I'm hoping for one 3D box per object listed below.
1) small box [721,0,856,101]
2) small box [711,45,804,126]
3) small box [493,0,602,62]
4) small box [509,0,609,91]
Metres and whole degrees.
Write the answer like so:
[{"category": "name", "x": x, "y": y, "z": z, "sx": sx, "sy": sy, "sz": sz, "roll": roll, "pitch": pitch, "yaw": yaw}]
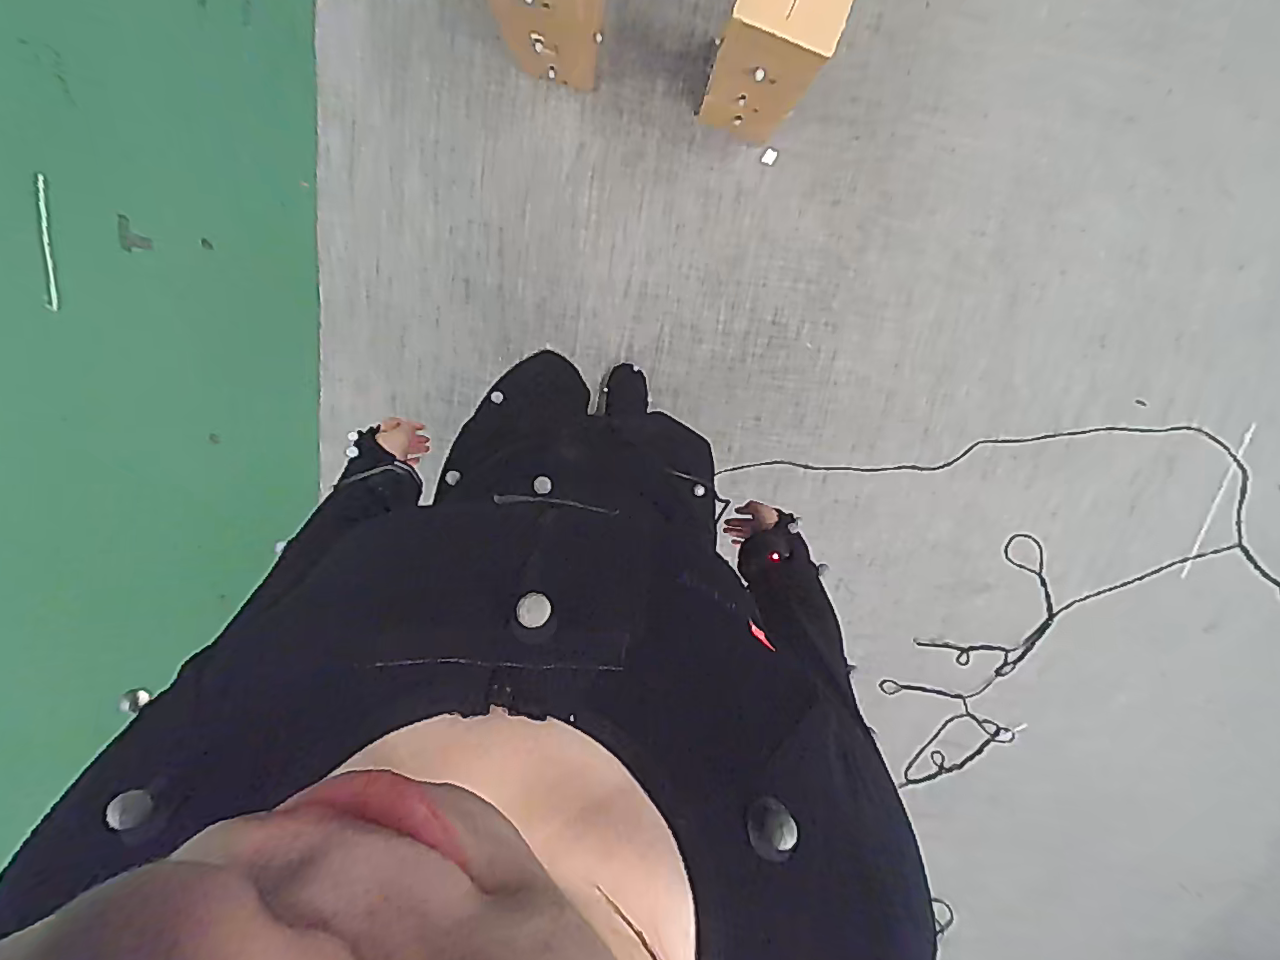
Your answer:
[{"category": "small box", "x": 0.241, "y": -0.757, "z": 0.867, "sx": 0.168, "sy": 0.176, "sz": 0.179, "roll": 18, "pitch": 108, "yaw": -6}, {"category": "small box", "x": 0.243, "y": -0.815, "z": 1.022, "sx": 0.168, "sy": 0.176, "sz": 0.179, "roll": 17, "pitch": 107, "yaw": -5}, {"category": "small box", "x": -0.162, "y": -0.916, "z": 0.989, "sx": 0.168, "sy": 0.176, "sz": 0.179, "roll": 11, "pitch": 108, "yaw": -2}, {"category": "small box", "x": -0.165, "y": -0.966, "z": 1.144, "sx": 0.168, "sy": 0.176, "sz": 0.179, "roll": 13, "pitch": 107, "yaw": -4}]
